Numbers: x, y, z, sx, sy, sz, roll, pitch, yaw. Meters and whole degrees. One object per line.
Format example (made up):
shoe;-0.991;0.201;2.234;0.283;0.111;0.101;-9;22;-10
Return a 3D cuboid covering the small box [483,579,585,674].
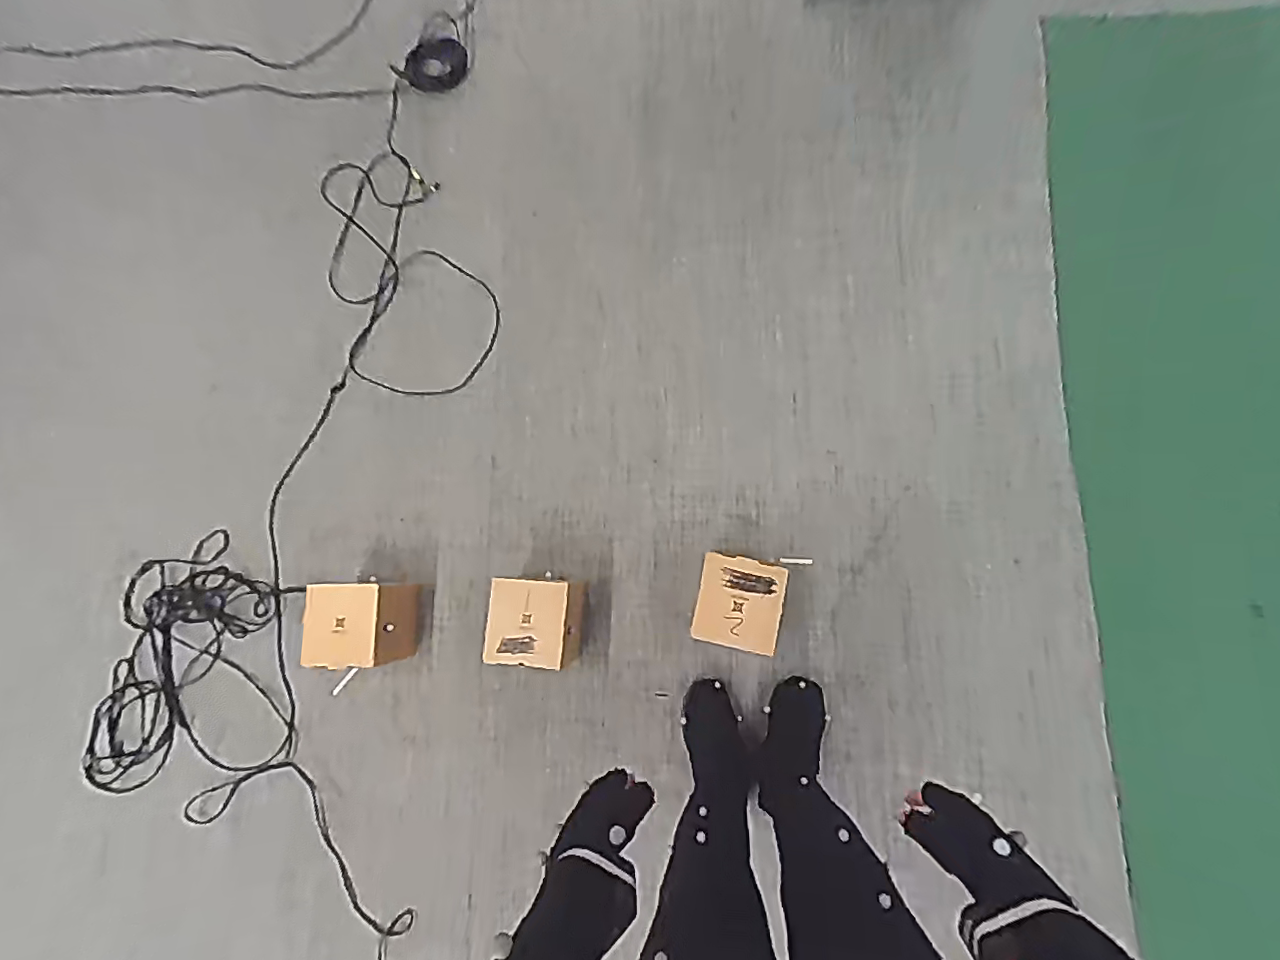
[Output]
small box;-0.223;0.312;1.183;0.168;0.176;0.179;3;80;8

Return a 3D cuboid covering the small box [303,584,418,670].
small box;-0.624;0.327;1.228;0.168;0.176;0.179;-2;81;7
